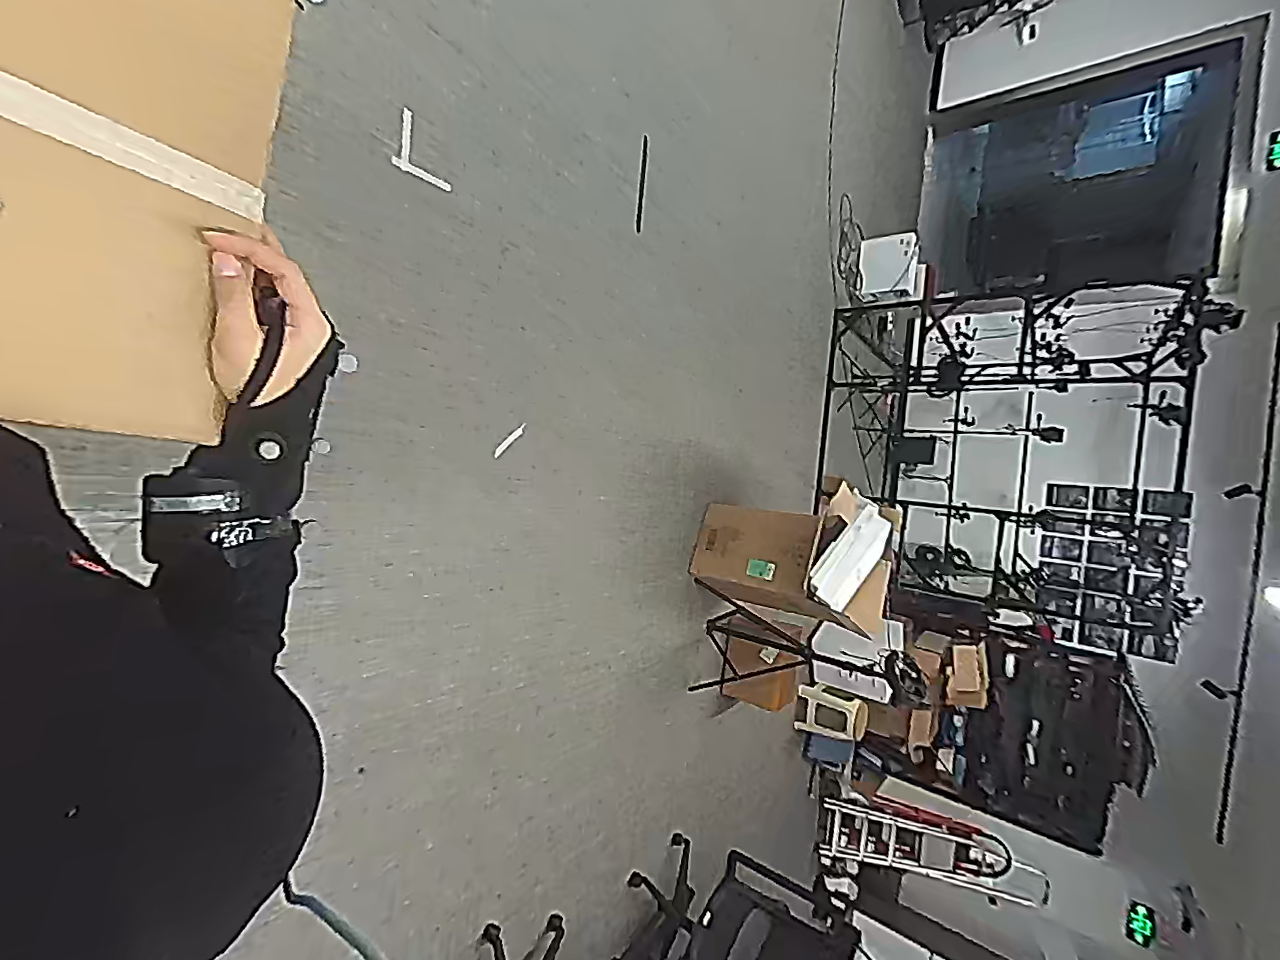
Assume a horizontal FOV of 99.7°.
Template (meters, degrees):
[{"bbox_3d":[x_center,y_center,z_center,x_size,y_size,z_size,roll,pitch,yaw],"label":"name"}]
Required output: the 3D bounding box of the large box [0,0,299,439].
[{"bbox_3d":[-0.487,-0.213,0.291,0.408,0.320,0.320,9,92,-54],"label":"large box"}]
